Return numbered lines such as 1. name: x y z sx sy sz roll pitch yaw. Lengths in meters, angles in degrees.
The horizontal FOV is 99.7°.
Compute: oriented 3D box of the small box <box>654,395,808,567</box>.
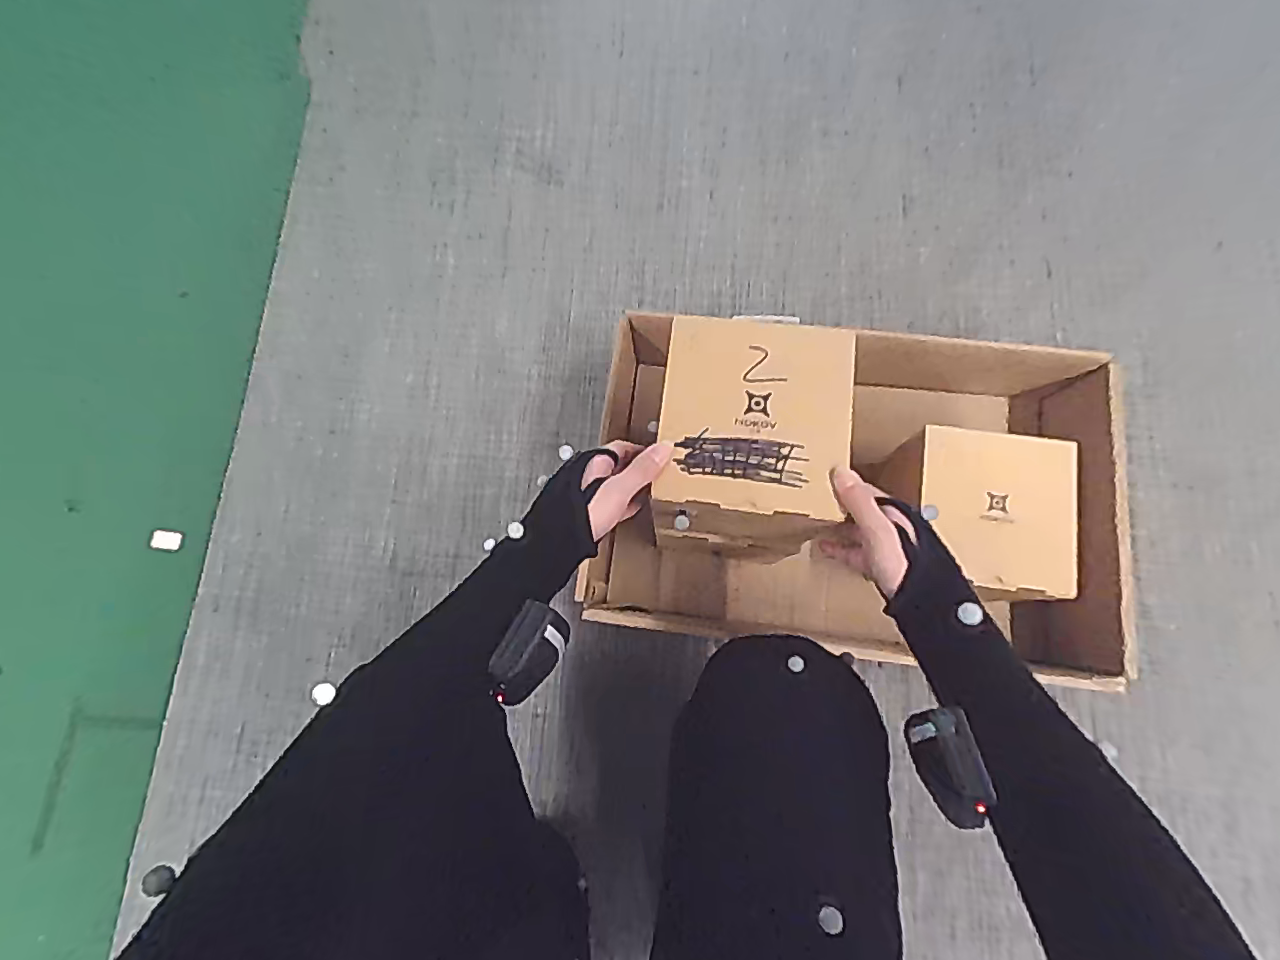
1. small box: 0.111 0.010 0.704 0.168 0.176 0.179 7 77 5
